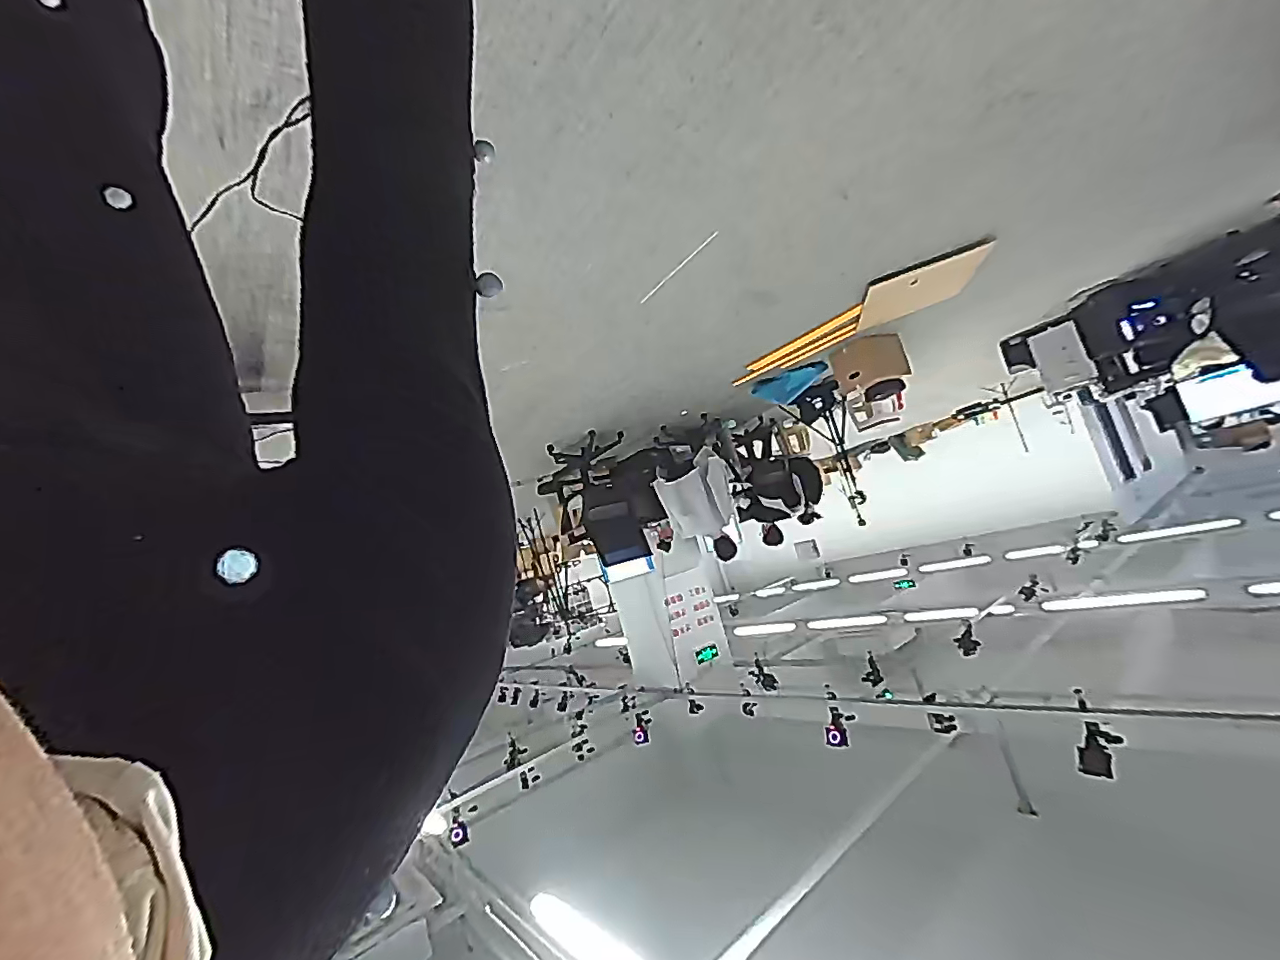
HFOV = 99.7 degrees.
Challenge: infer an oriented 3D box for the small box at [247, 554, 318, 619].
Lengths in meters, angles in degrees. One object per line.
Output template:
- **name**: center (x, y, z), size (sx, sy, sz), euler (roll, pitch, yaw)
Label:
- **small box**: center (-1.158, 0.344, 1.750), size (0.168, 0.176, 0.179), euler (-10, 170, -38)
